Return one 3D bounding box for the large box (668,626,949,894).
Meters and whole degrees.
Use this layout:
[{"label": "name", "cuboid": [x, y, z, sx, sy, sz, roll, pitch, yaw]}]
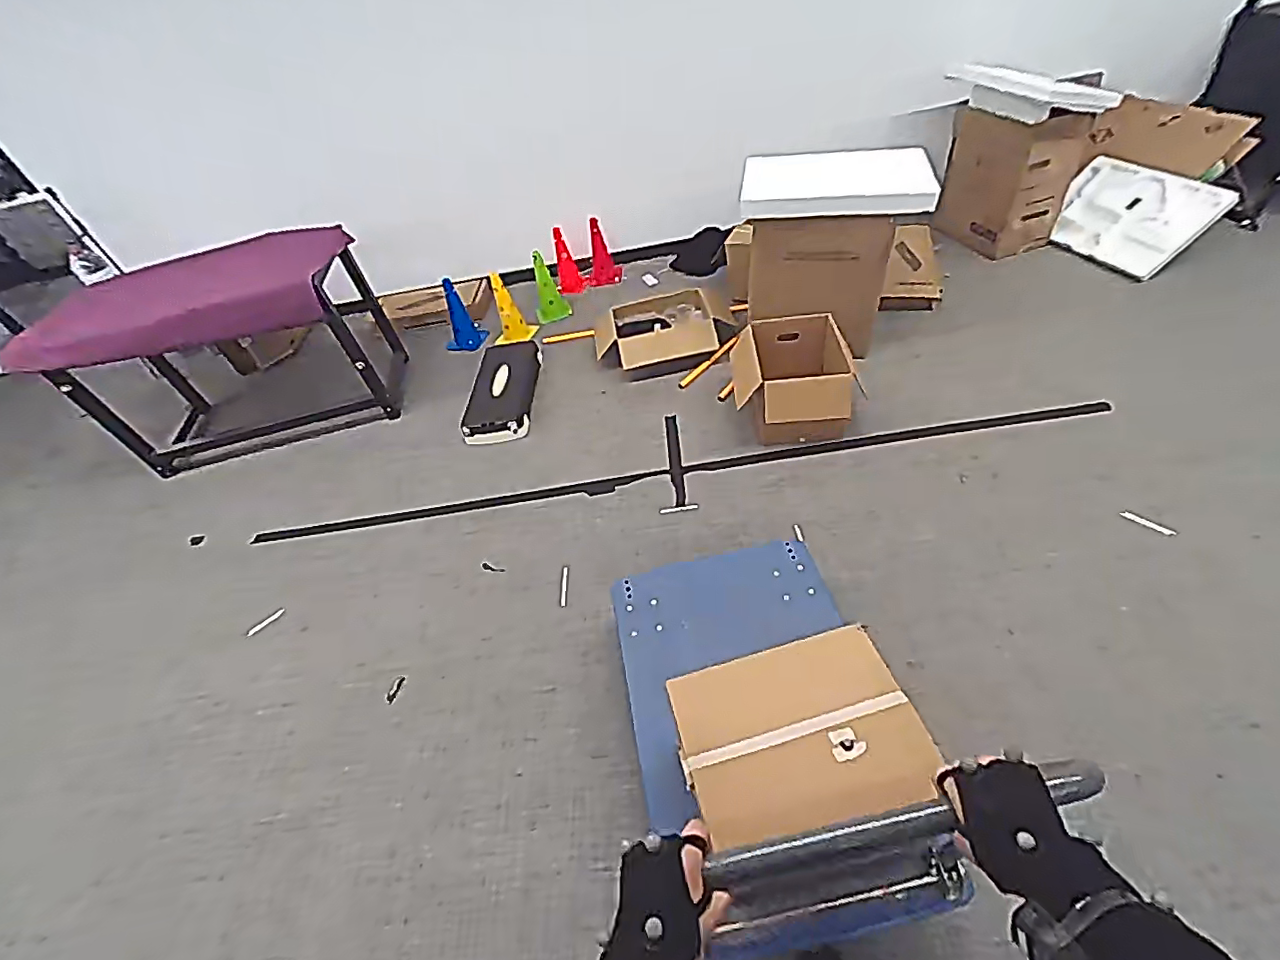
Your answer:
[{"label": "large box", "cuboid": [0.297, 0.550, 1.065, 0.408, 0.320, 0.320, -15, 46, -4]}]
